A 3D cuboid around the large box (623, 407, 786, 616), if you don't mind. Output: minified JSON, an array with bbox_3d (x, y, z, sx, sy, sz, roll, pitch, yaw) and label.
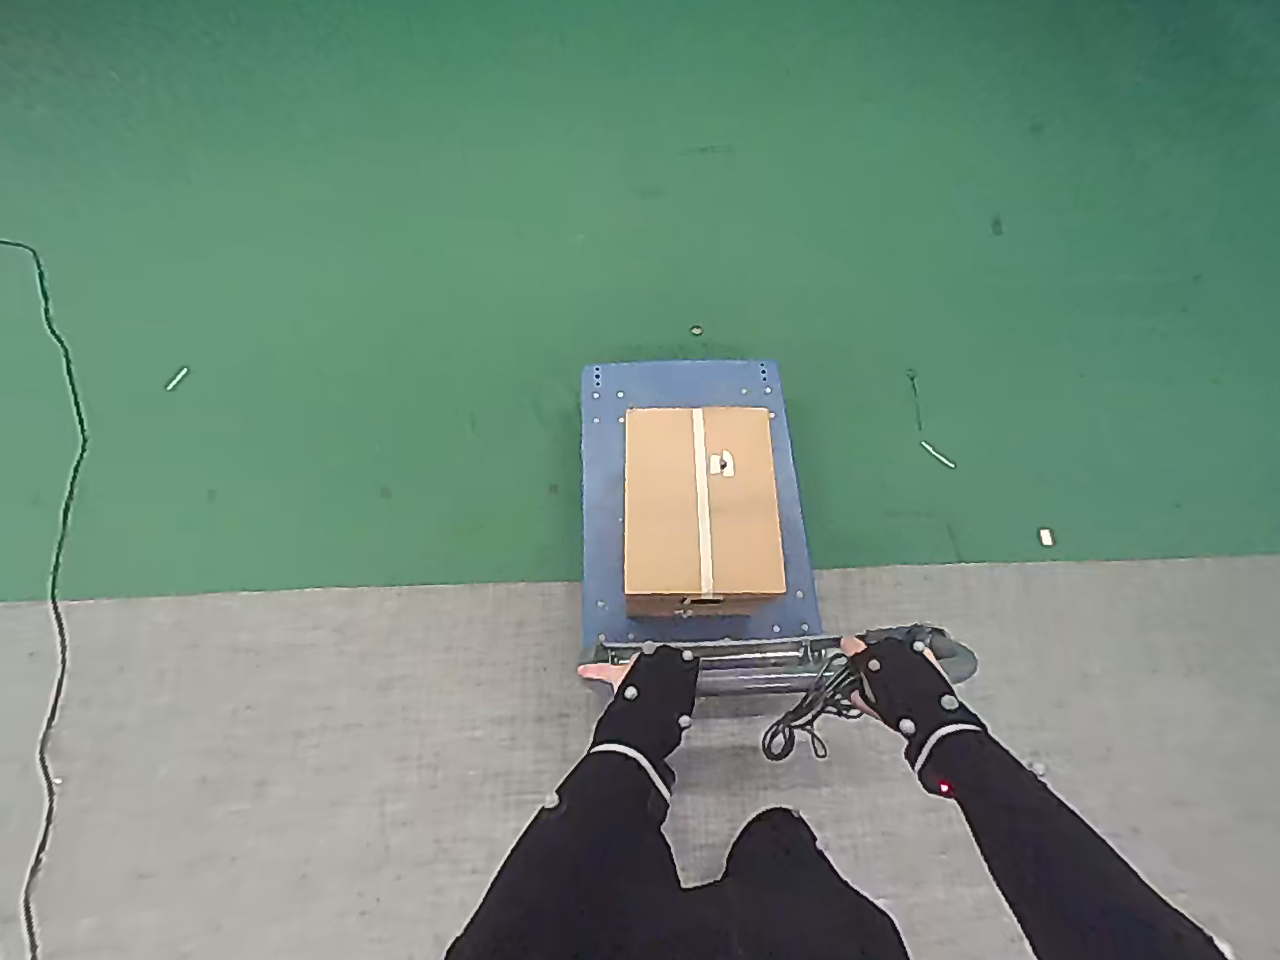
[{"bbox_3d":[0.121,0.084,1.232,0.320,0.320,0.408,0,68,-1],"label":"large box"}]
